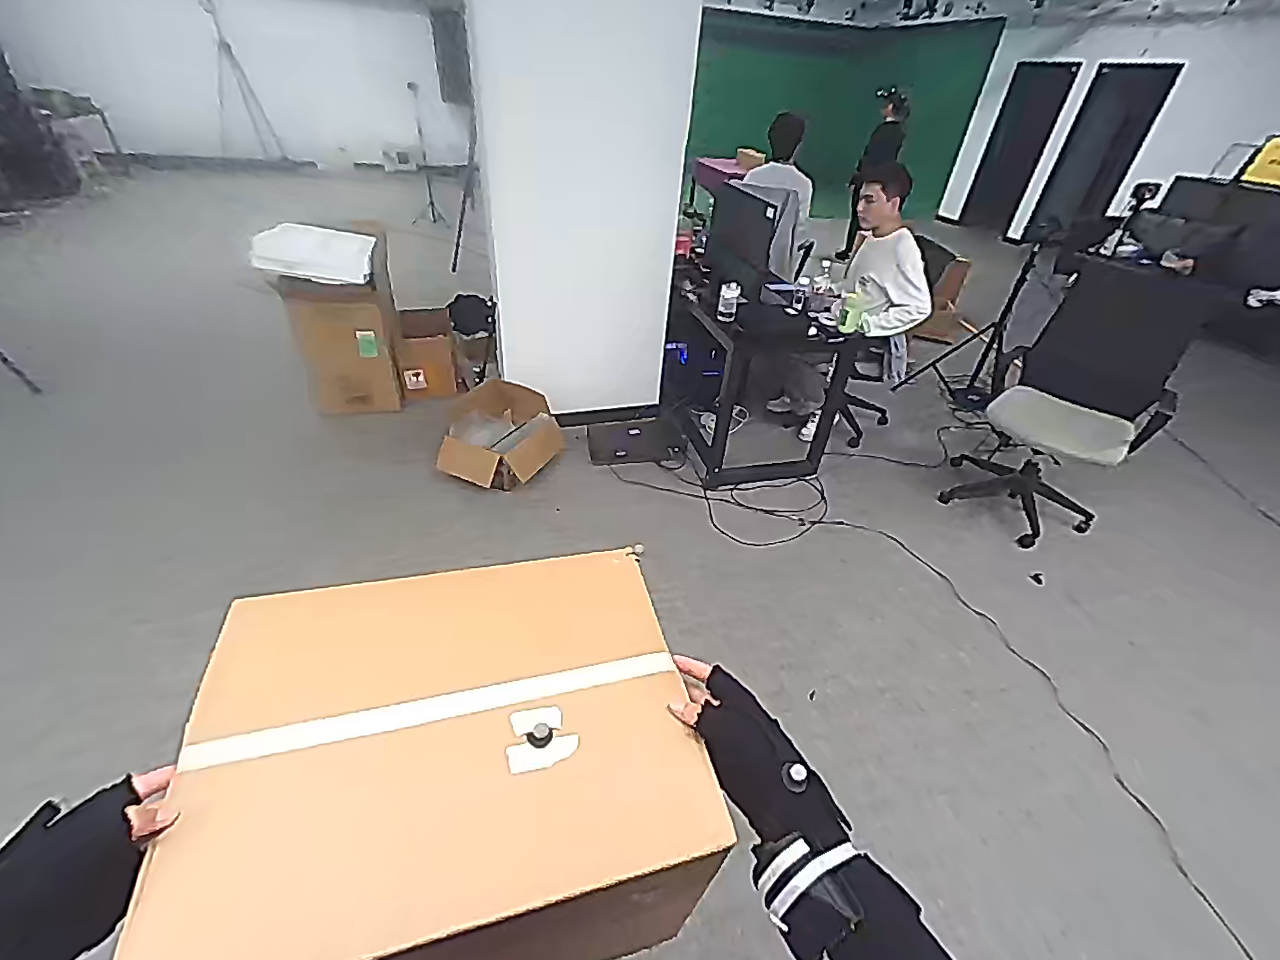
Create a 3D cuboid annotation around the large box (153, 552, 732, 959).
[{"bbox_3d":[-0.172,0.317,0.579,0.408,0.320,0.320,-5,42,-17],"label":"large box"}]
